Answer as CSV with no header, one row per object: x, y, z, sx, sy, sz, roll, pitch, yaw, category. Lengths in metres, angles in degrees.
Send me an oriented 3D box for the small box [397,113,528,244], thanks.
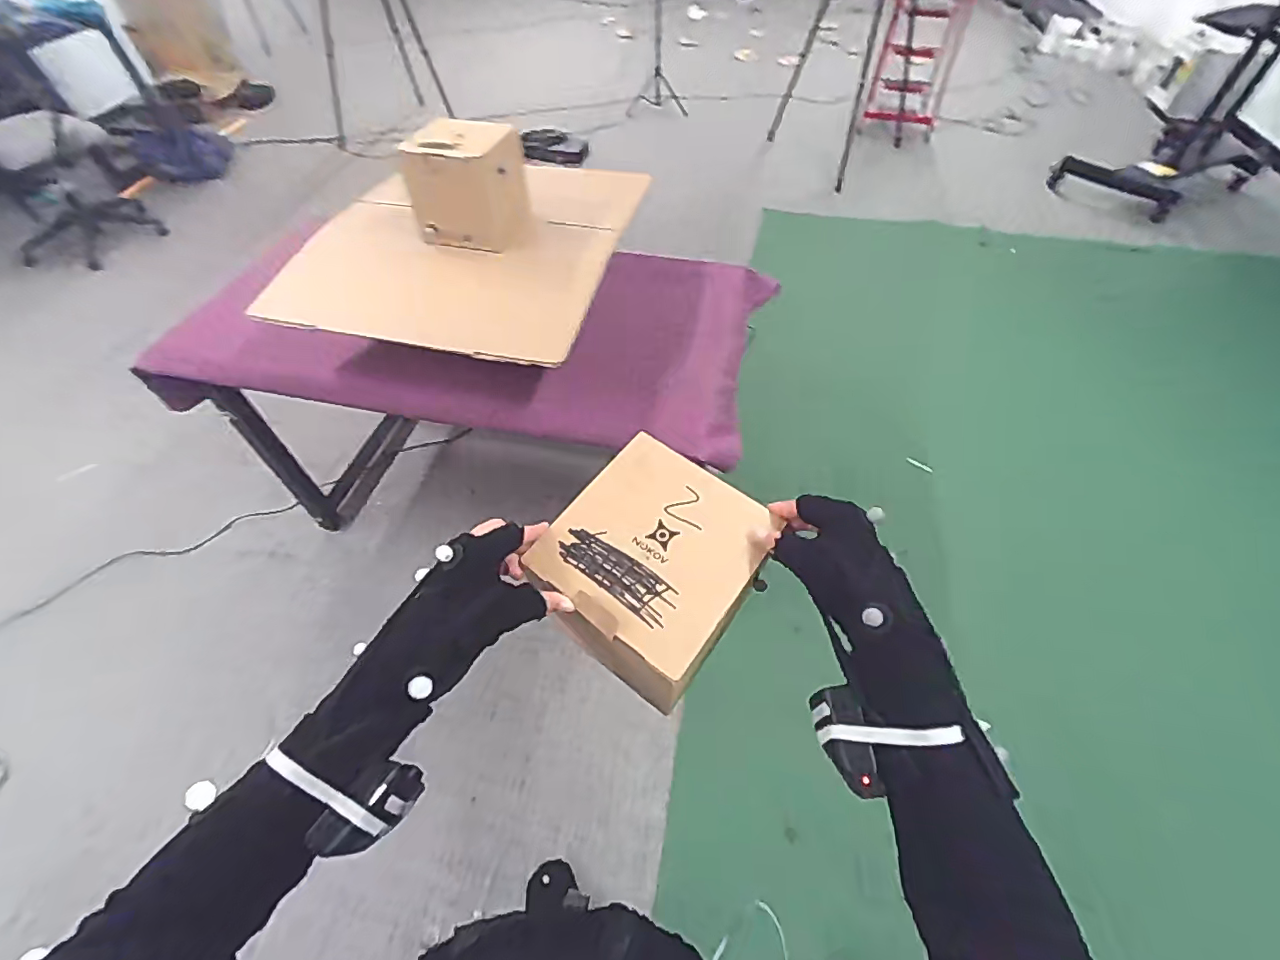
-0.327,-0.579,1.044,0.168,0.176,0.179,9,53,7,small box
